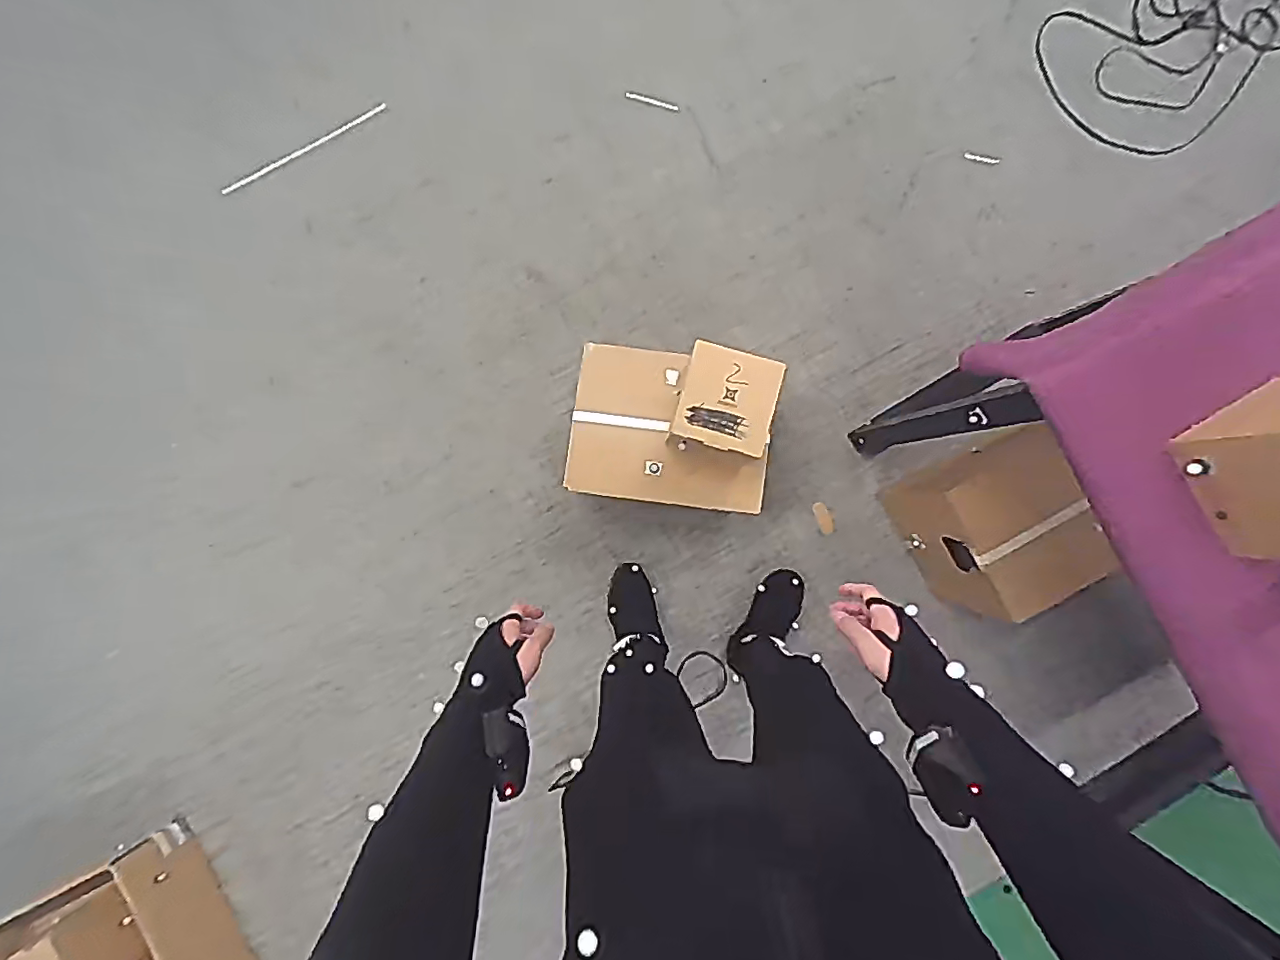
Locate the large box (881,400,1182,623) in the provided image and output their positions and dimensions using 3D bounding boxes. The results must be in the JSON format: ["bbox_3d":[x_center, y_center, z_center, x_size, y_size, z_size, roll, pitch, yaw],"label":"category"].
[{"bbox_3d":[0.865,0.070,1.254,0.408,0.320,0.320,-29,90,-2],"label":"large box"}]

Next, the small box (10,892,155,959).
[{"bbox_3d":[-1.279,1.090,1.227,0.168,0.176,0.179,-32,90,-2],"label":"small box"}]

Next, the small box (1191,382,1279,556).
[{"bbox_3d":[0.774,-0.019,0.591,0.179,0.176,0.168,-30,90,-3],"label":"small box"}]
